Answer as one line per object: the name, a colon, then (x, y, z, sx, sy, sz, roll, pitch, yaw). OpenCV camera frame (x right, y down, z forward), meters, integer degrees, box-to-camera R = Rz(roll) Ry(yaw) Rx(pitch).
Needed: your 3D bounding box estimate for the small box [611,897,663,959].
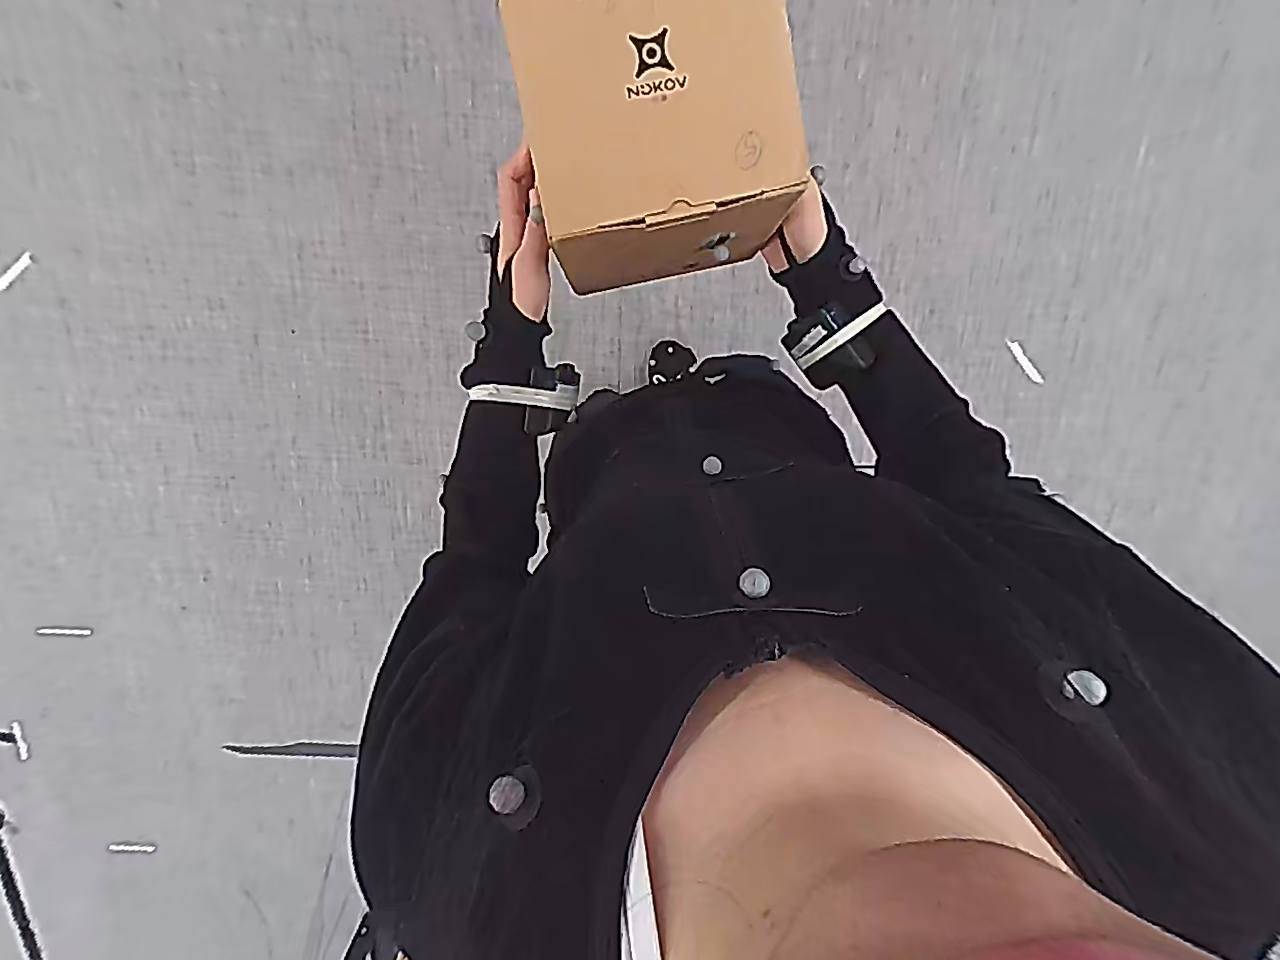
small box: (-0.013, 1.557, 1.819, 0.168, 0.176, 0.179, 3, 105, -1)
